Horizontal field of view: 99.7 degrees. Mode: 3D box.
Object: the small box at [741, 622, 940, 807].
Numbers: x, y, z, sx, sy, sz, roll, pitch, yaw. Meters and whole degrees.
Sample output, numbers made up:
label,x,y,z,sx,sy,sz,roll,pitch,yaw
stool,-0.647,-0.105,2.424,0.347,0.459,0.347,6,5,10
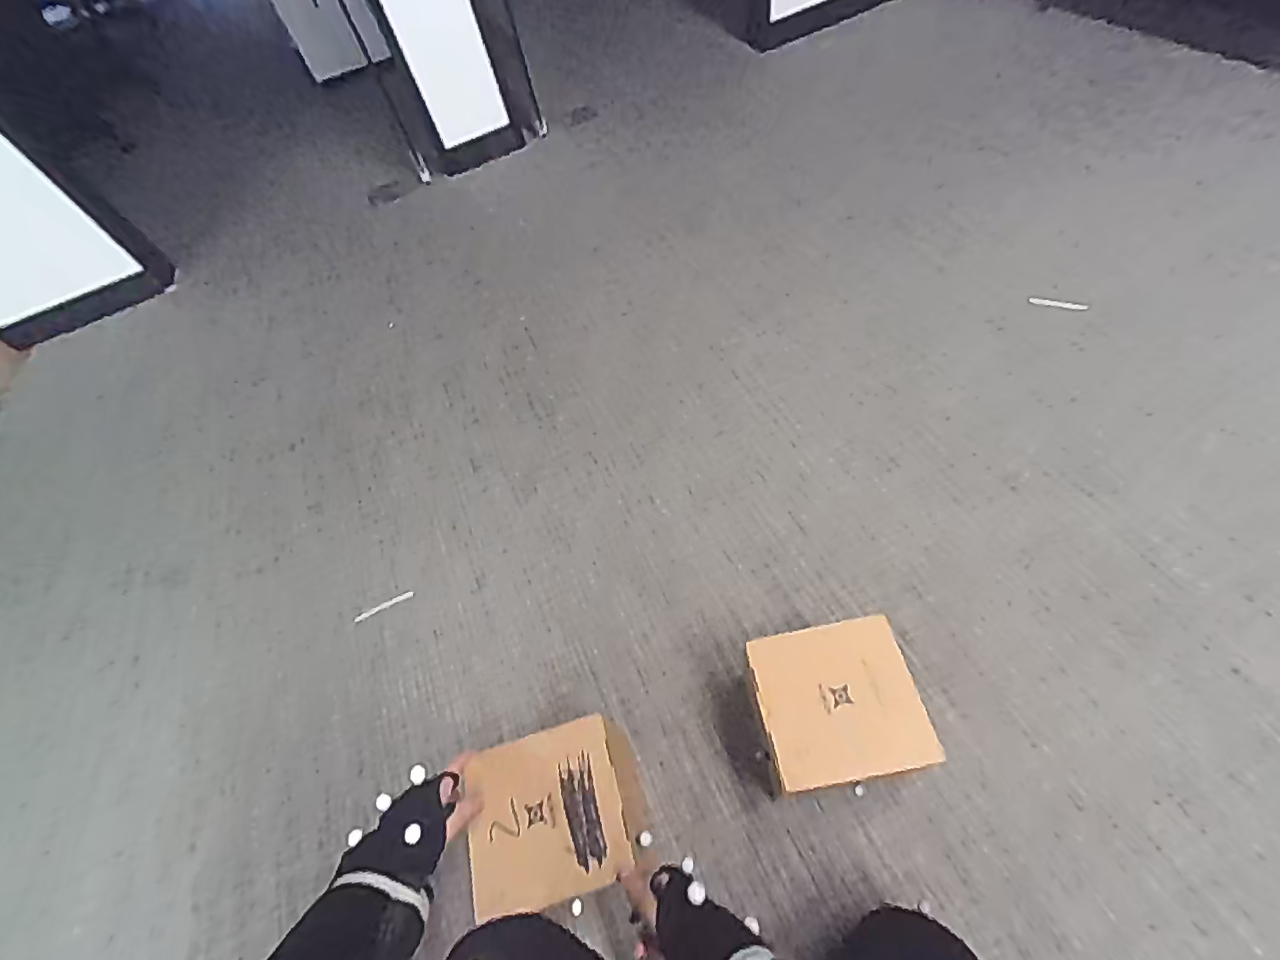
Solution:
label,x,y,z,sx,sy,sz,roll,pitch,yaw
small box,0.231,0.299,0.676,0.179,0.176,0.168,-12,55,2
